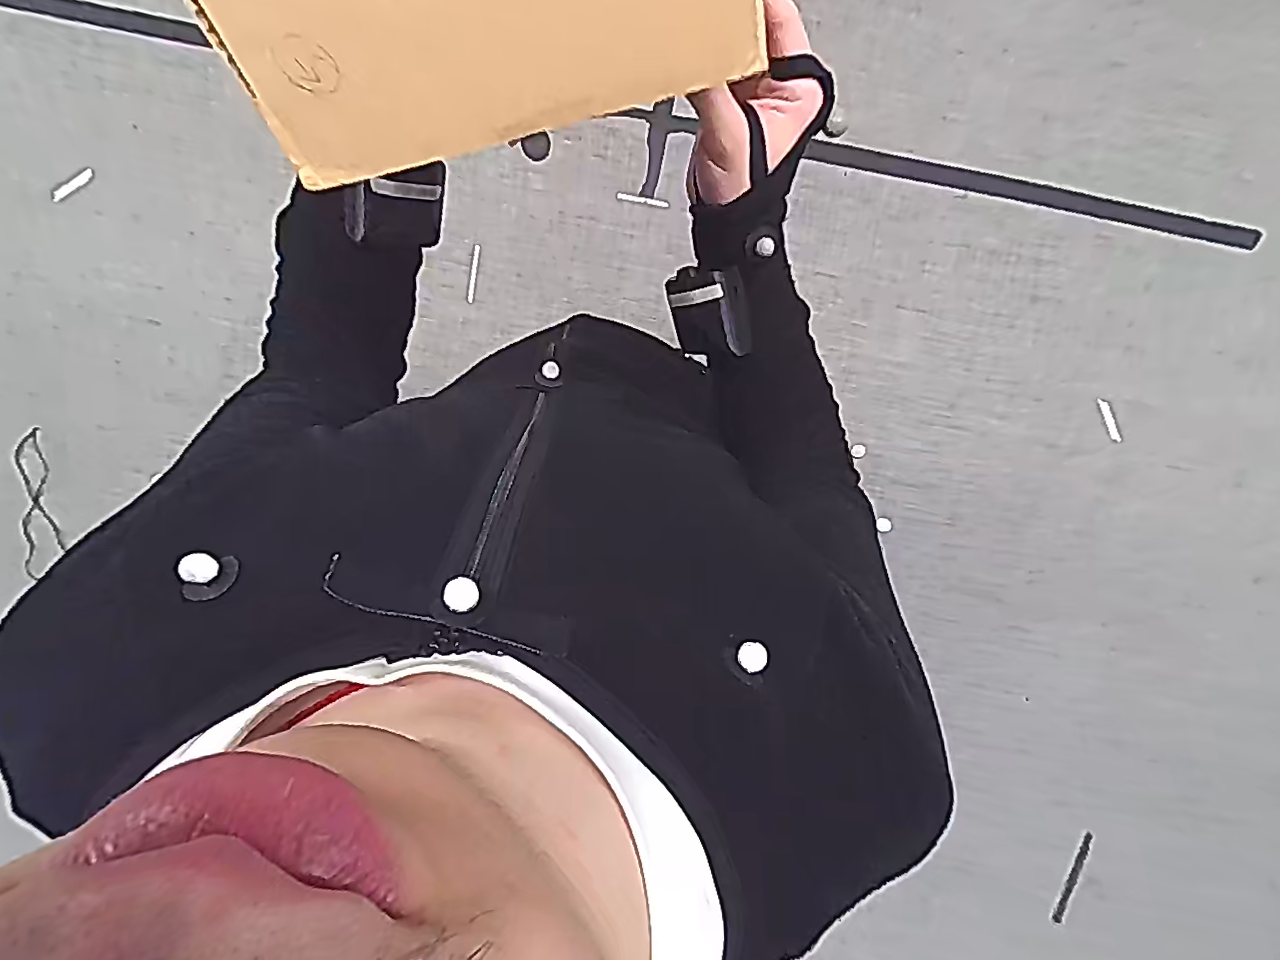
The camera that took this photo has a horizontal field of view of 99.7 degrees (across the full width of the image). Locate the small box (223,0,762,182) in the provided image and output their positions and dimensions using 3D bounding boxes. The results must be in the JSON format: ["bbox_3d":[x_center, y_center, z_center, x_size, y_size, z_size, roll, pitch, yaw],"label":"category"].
[{"bbox_3d":[-0.053,-0.239,0.203,0.179,0.176,0.168,-7,133,13],"label":"small box"}]
